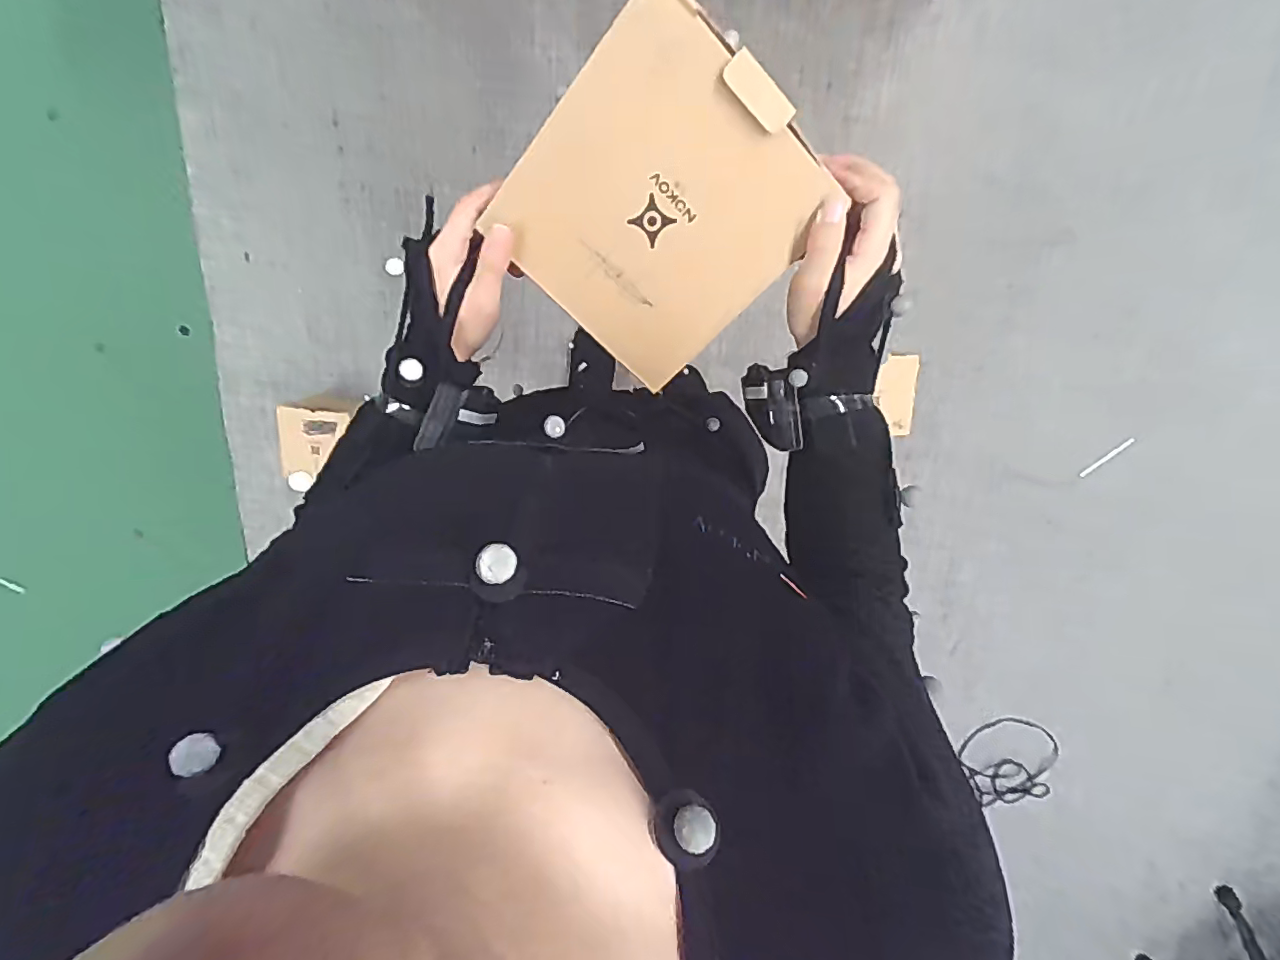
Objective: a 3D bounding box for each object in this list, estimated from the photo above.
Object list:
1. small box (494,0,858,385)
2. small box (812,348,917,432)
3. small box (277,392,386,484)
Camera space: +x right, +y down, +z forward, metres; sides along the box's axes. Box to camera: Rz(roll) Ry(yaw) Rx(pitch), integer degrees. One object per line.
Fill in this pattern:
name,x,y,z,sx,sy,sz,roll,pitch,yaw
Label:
small box,0.026,-0.211,0.408,0.168,0.176,0.179,41,119,-15
small box,0.500,-0.210,1.228,0.168,0.176,0.179,0,107,1
small box,-0.726,-0.107,1.290,0.168,0.176,0.179,7,108,0
